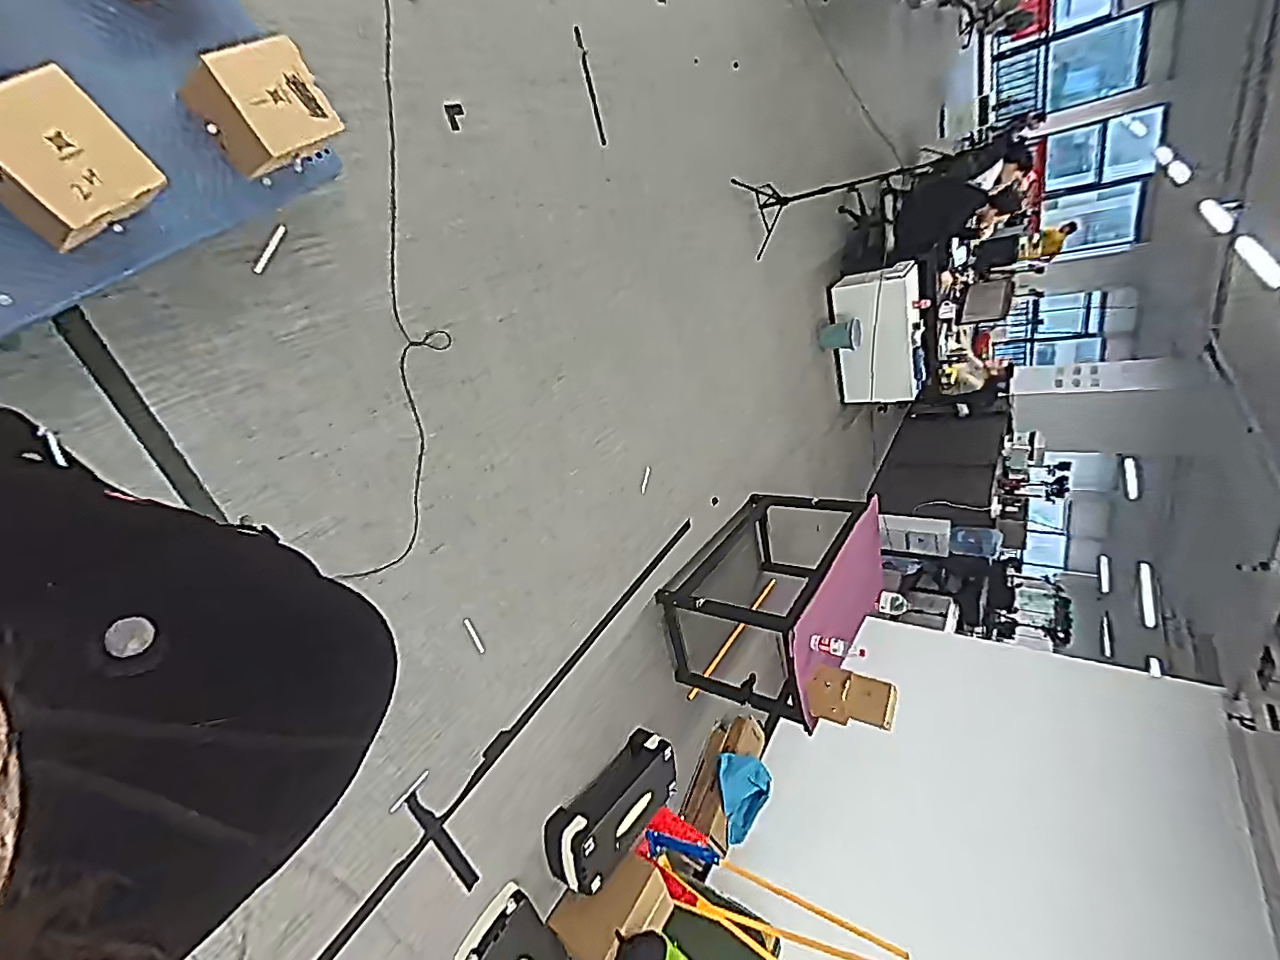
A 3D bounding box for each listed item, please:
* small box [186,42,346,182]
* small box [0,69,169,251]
[{"bbox_3d":[-0.737,-0.719,1.066,0.179,0.176,0.168,-53,132,-34],"label":"small box"},{"bbox_3d":[-0.917,-0.493,0.854,0.168,0.176,0.179,-59,135,-30],"label":"small box"}]
